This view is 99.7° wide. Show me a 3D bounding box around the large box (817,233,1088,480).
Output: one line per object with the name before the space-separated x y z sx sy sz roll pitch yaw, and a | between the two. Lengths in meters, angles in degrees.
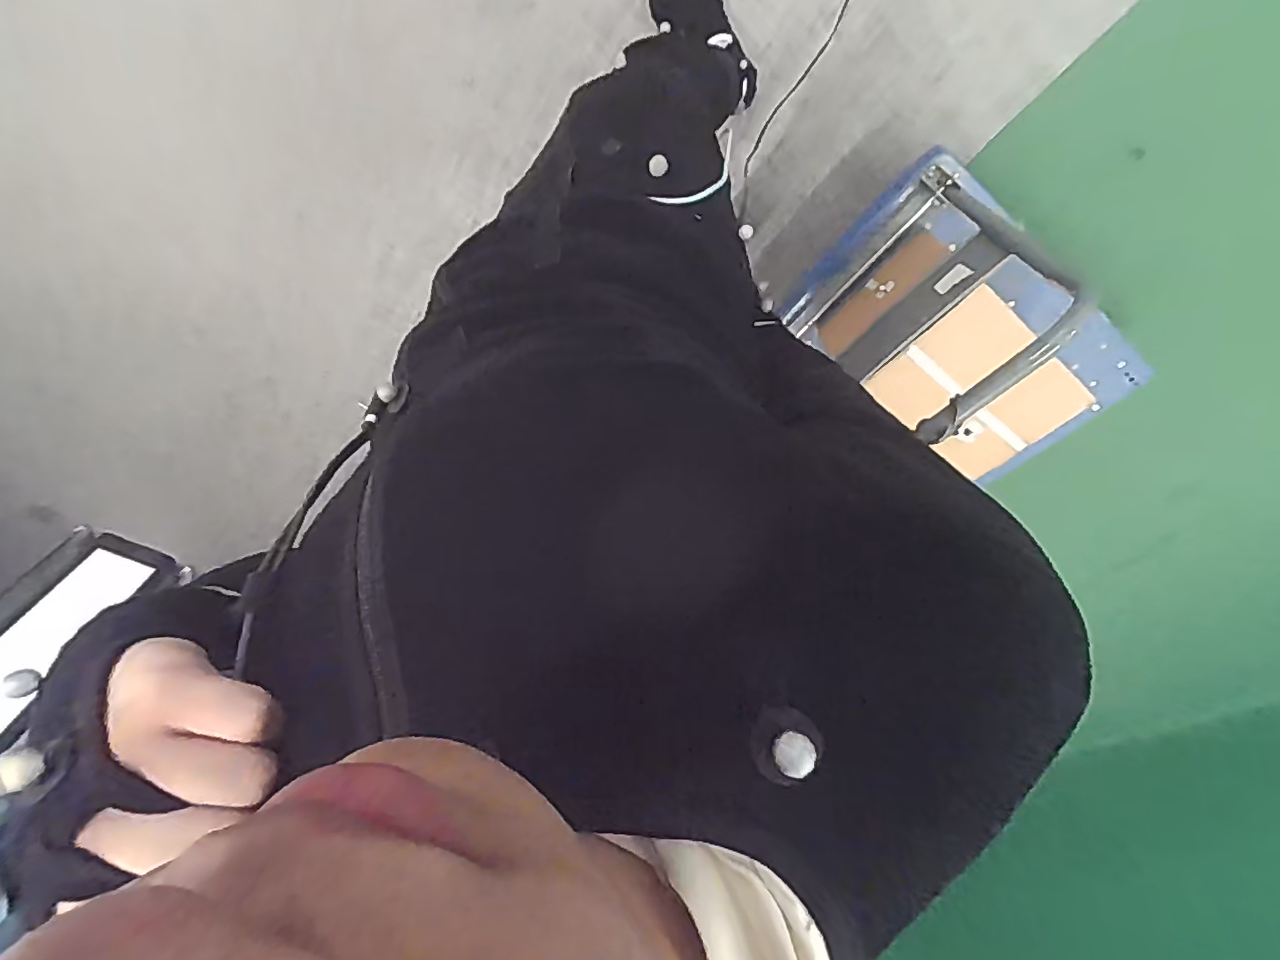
large box | 0.679 -0.277 1.234 0.408 0.320 0.320 31 127 -21
